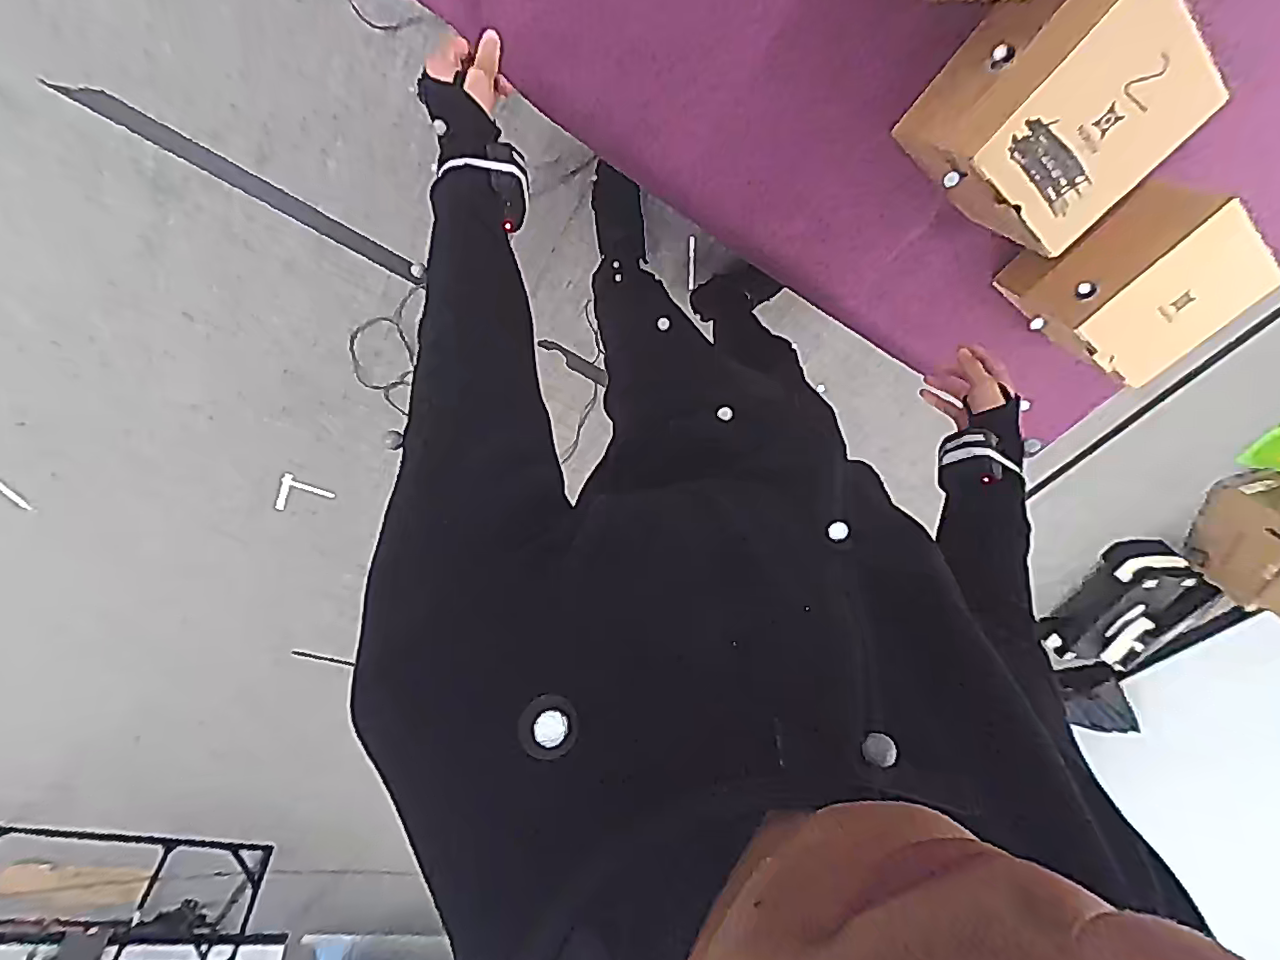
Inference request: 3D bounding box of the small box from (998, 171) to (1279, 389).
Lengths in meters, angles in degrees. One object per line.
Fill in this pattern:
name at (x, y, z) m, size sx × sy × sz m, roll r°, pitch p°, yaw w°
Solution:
small box at (0.618, -0.258, 0.692) m, size 0.168 × 0.176 × 0.179 m, roll 25°, pitch 123°, yaw -25°
